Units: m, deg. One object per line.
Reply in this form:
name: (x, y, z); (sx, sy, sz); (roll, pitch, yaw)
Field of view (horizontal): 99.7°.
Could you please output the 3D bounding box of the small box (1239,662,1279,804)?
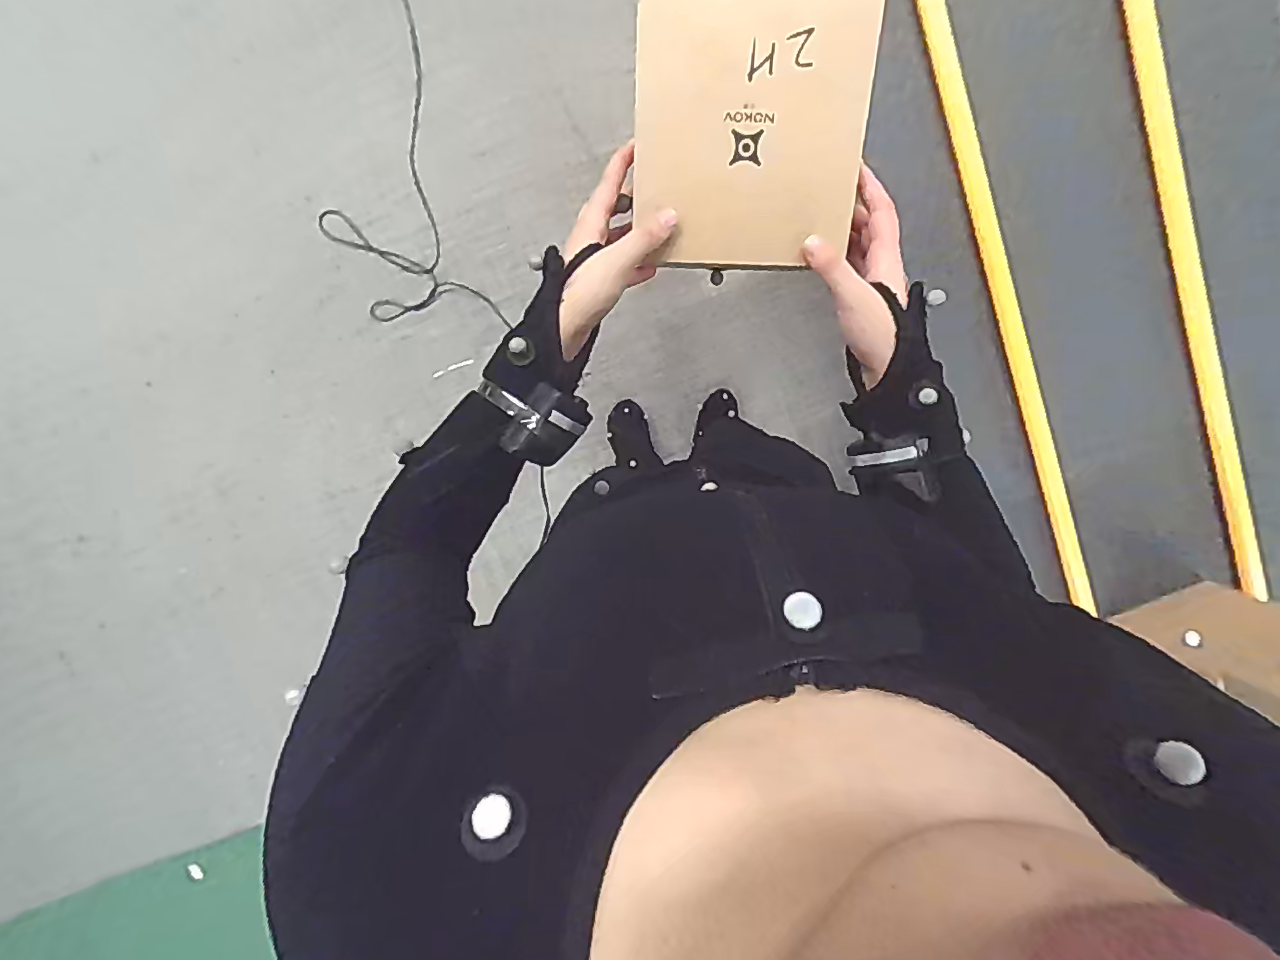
small box: (0.812, 0.299, 0.580); (0.168, 0.176, 0.179); (-17, 100, 0)
